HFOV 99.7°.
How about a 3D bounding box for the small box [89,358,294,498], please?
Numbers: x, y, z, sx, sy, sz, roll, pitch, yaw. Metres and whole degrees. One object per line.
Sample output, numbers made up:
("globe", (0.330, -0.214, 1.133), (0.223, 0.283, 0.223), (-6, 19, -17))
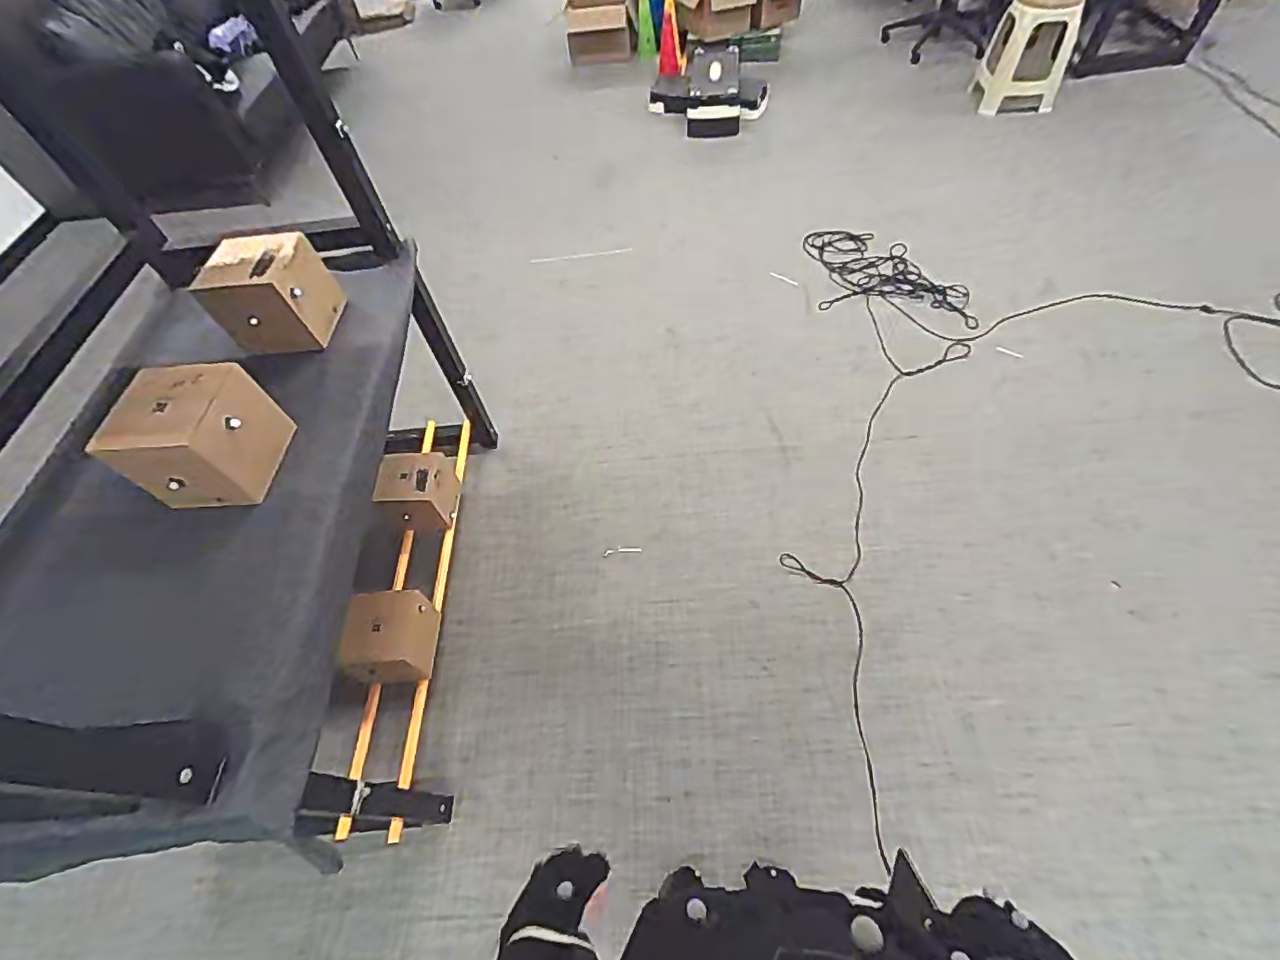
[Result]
("small box", (-0.724, -0.078, 0.901), (0.168, 0.176, 0.179), (-2, 56, 4))

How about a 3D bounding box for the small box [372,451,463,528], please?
("small box", (-0.637, 0.032, 1.574), (0.179, 0.176, 0.168), (-2, 55, 4))
